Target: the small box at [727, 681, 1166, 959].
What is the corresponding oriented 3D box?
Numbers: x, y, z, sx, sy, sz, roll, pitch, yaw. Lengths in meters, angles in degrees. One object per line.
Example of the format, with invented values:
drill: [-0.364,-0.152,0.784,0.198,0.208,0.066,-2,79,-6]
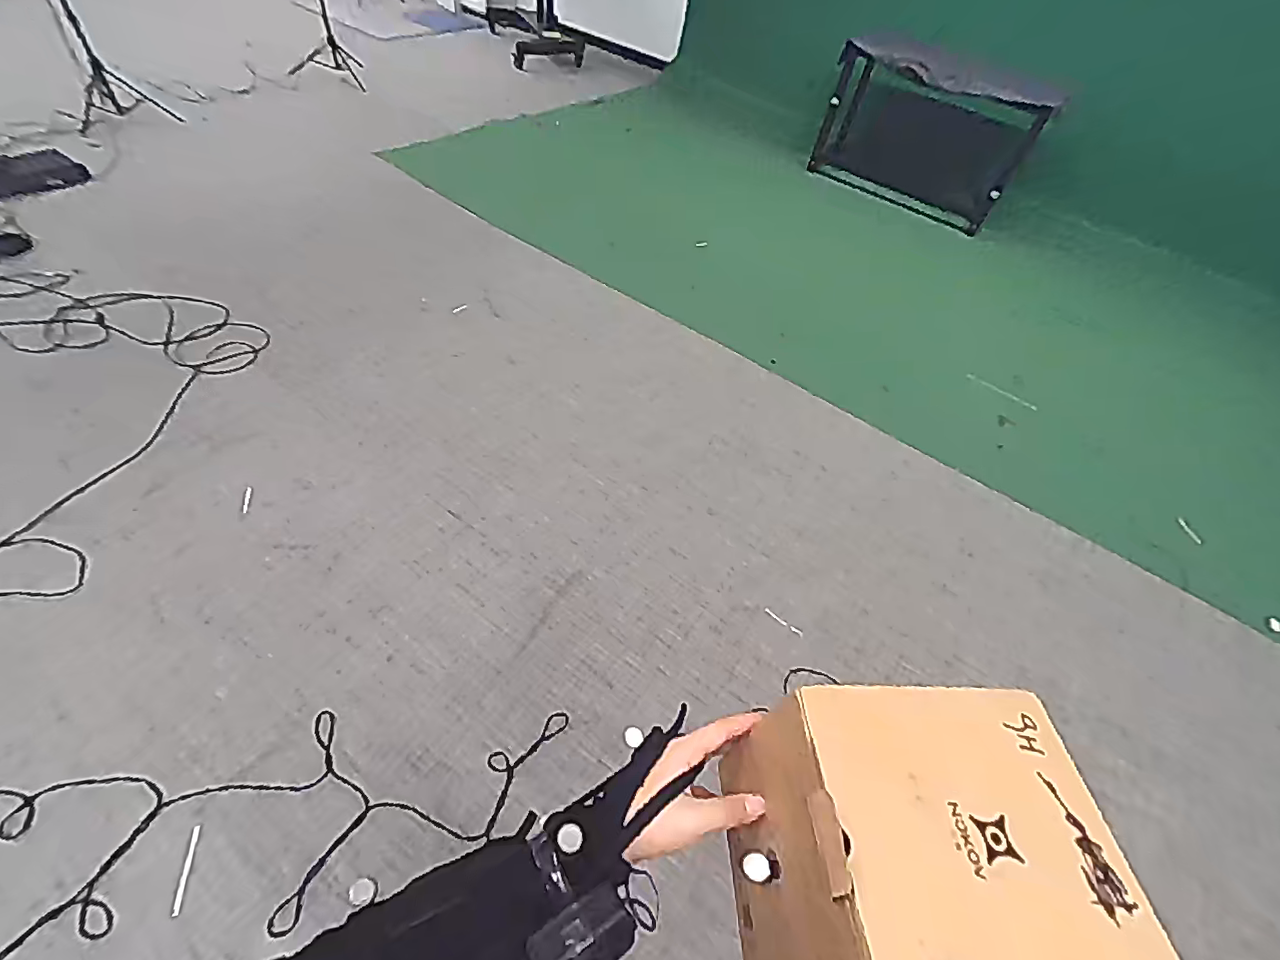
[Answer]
small box: [0.167,0.249,0.362,0.179,0.176,0.168,5,47,-10]
